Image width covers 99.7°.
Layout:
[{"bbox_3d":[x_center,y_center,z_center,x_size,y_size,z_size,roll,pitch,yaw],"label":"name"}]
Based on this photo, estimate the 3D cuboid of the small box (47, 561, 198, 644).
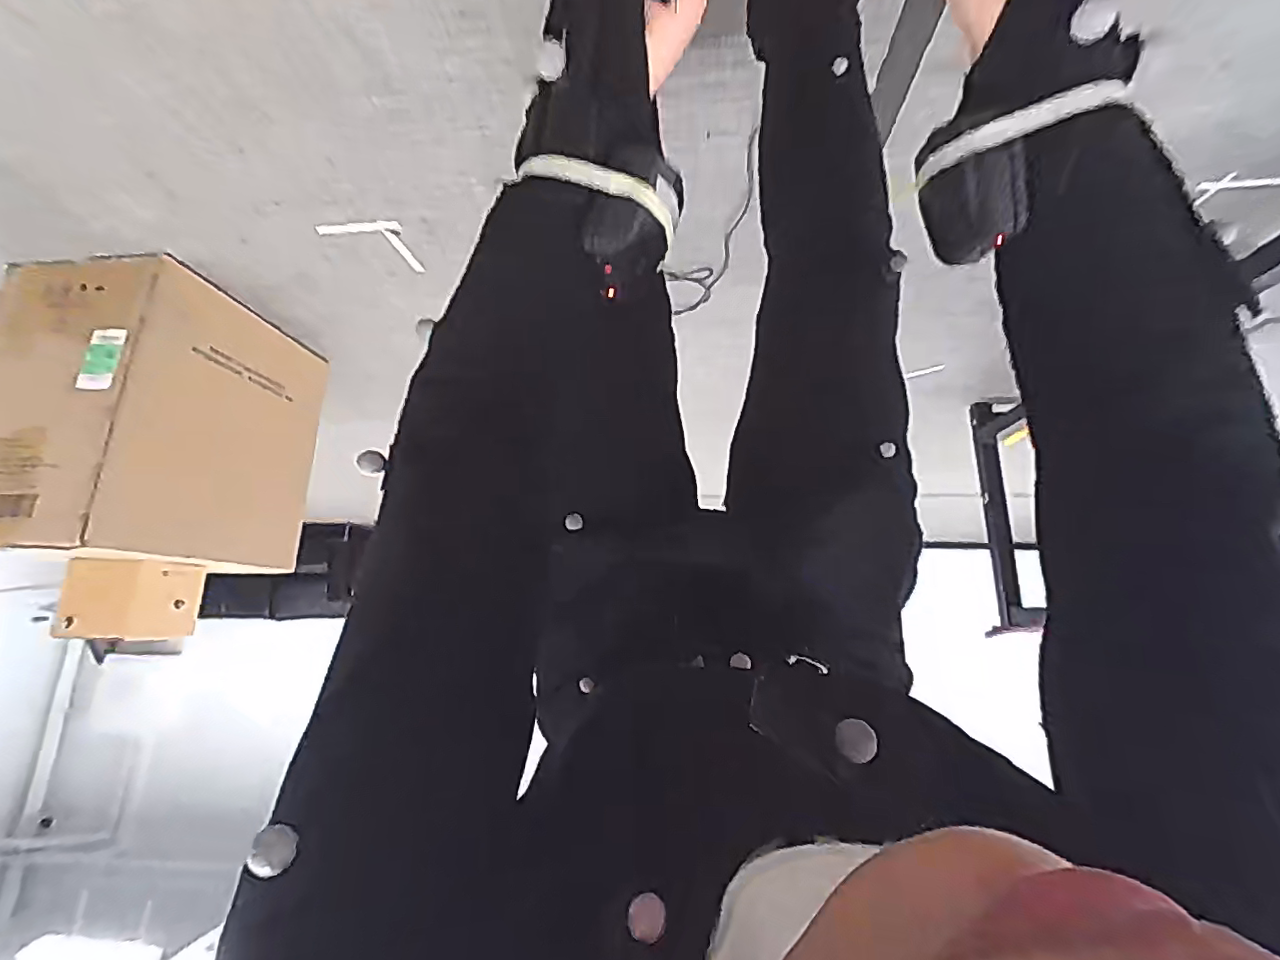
[{"bbox_3d":[-1.130,0.268,1.198,0.179,0.176,0.168,1,166,5],"label":"small box"}]
